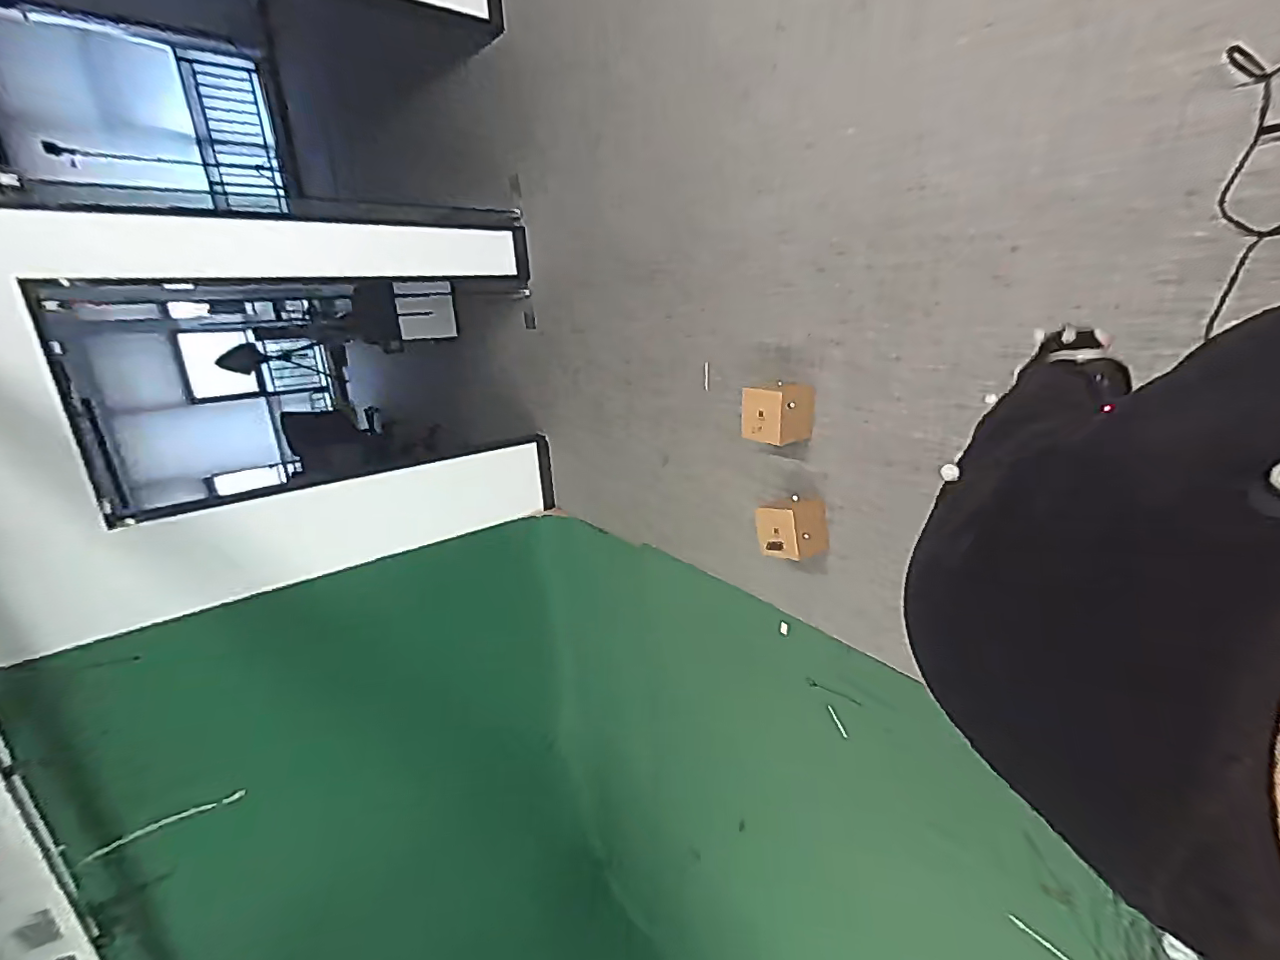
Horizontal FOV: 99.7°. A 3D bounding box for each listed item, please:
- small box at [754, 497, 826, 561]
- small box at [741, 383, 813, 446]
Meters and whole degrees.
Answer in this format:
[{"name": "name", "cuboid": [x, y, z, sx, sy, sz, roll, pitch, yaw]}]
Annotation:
[{"name": "small box", "cuboid": [0.522, 0.164, 1.865, 0.168, 0.176, 0.179, 1, 103, 54]}, {"name": "small box", "cuboid": [0.460, -0.225, 1.807, 0.168, 0.176, 0.179, 21, 119, 50]}]
